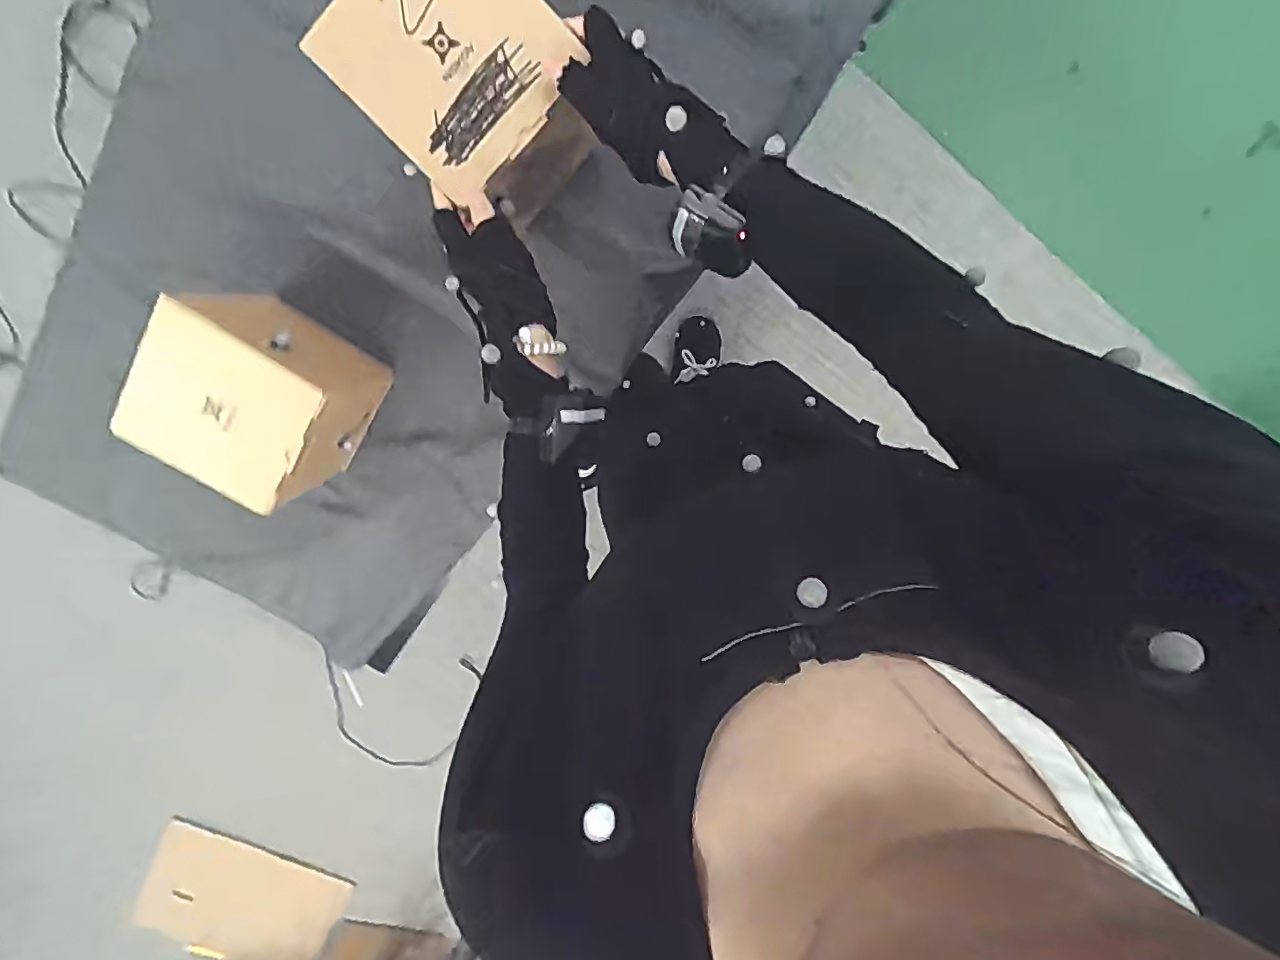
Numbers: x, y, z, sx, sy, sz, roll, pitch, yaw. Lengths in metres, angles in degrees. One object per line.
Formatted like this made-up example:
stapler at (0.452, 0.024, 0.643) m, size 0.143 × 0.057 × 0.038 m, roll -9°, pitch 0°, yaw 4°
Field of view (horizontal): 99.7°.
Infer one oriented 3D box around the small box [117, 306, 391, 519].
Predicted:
small box at (-0.440, -0.087, 0.644) m, size 0.179 × 0.176 × 0.168 m, roll 32°, pitch 105°, yaw -10°
